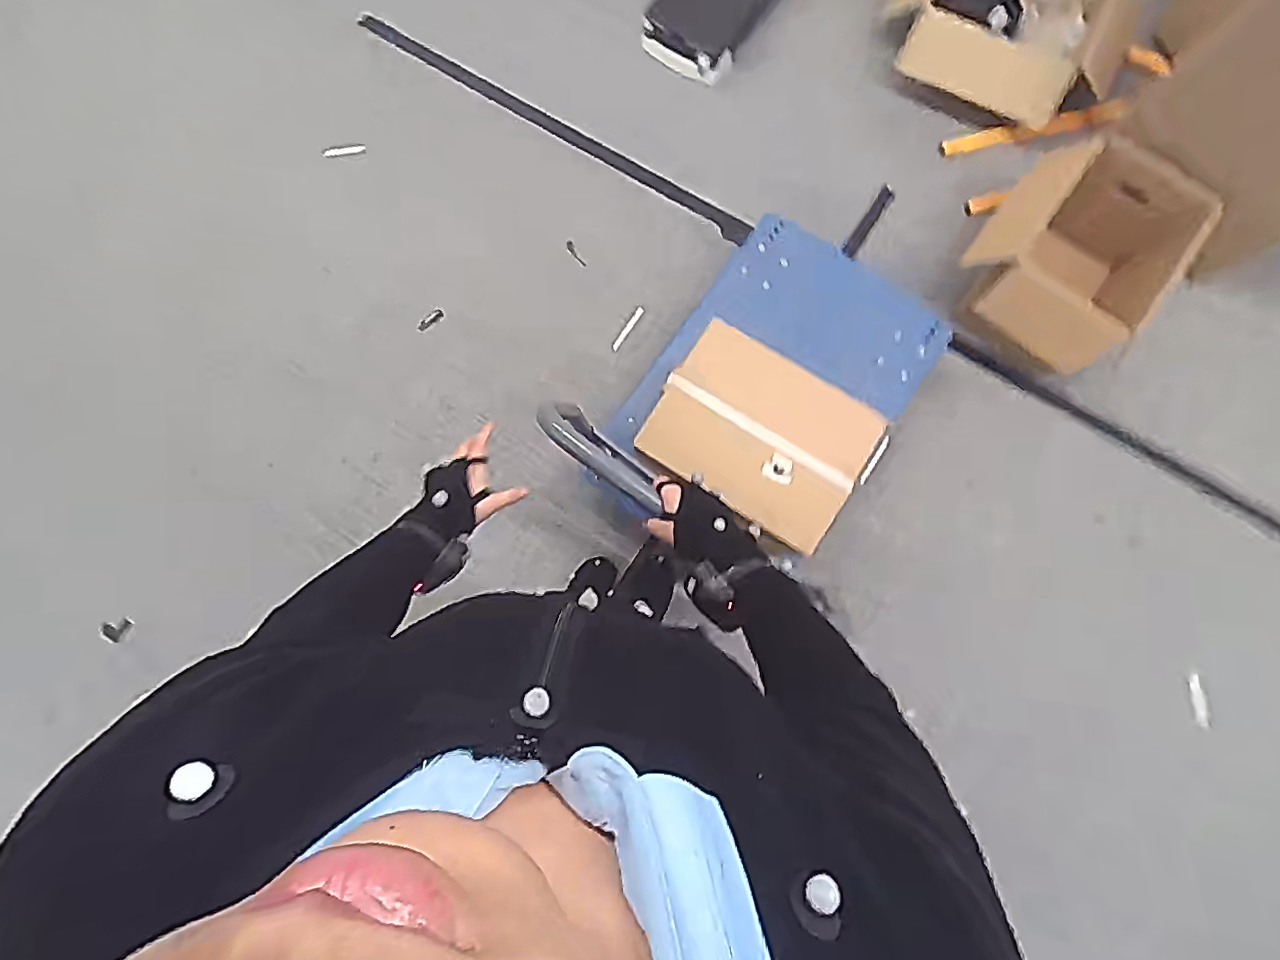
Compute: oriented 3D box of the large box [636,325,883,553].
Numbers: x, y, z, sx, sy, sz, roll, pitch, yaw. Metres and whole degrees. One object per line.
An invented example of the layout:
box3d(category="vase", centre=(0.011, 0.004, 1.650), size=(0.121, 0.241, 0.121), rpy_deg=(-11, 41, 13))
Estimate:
box3d(category="large box", centre=(0.235, -0.068, 1.214), size=(0.408, 0.320, 0.320), rpy_deg=(33, 84, 4))
